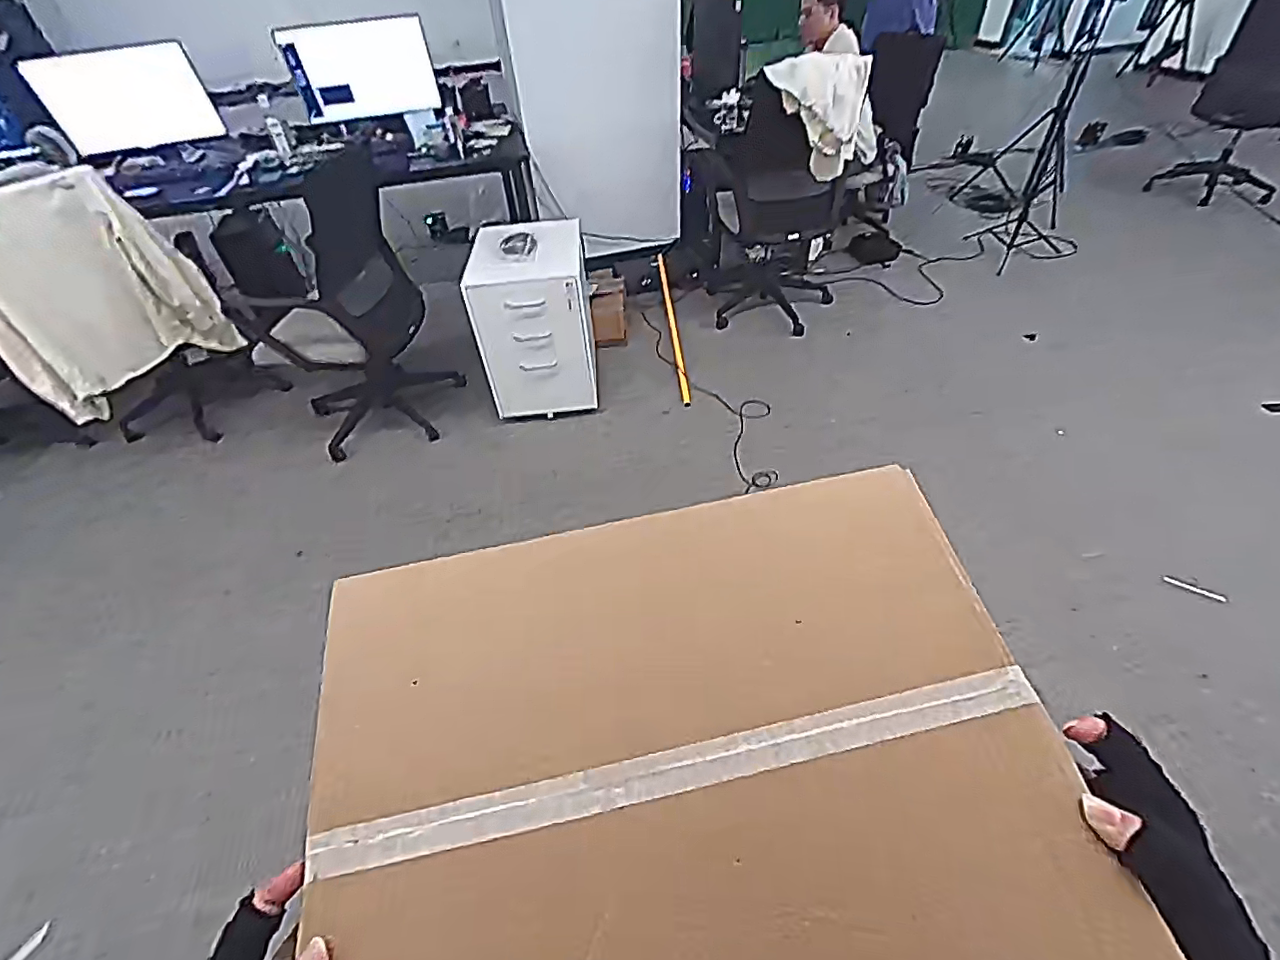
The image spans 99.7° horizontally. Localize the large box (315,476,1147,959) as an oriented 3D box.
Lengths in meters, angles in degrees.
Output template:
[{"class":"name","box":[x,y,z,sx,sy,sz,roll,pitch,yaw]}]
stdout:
[{"class":"large box","box":[0.031,0.239,0.436,0.408,0.320,0.320,-11,58,-3]}]
